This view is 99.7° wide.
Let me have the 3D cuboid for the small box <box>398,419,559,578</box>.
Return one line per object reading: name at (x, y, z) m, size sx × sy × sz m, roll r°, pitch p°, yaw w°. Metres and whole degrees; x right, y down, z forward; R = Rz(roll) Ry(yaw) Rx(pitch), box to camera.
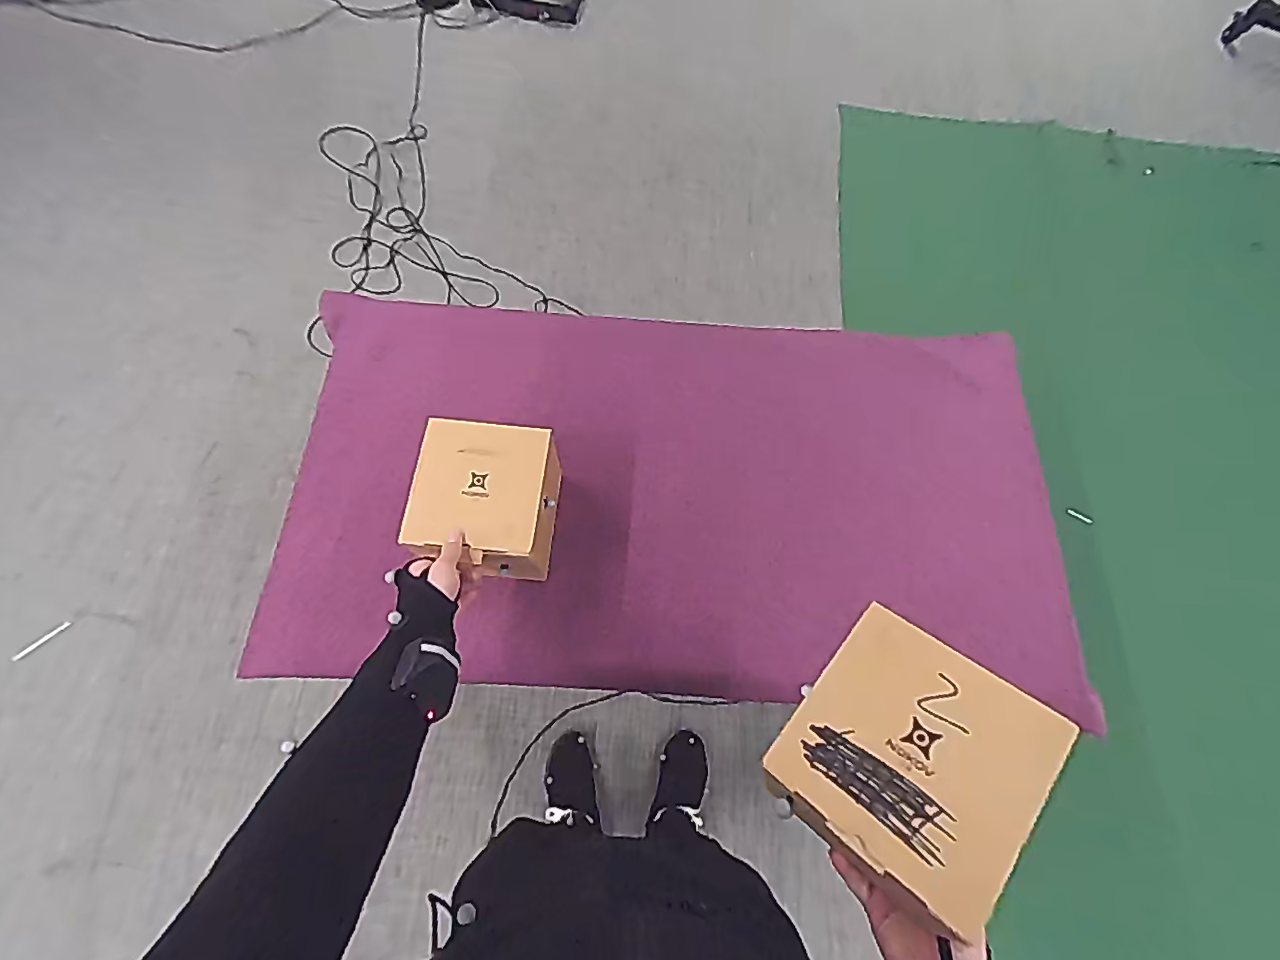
small box at (-0.213, 0.036, 0.769) m, size 0.168 × 0.176 × 0.179 m, roll 7°, pitch 68°, yaw -1°
